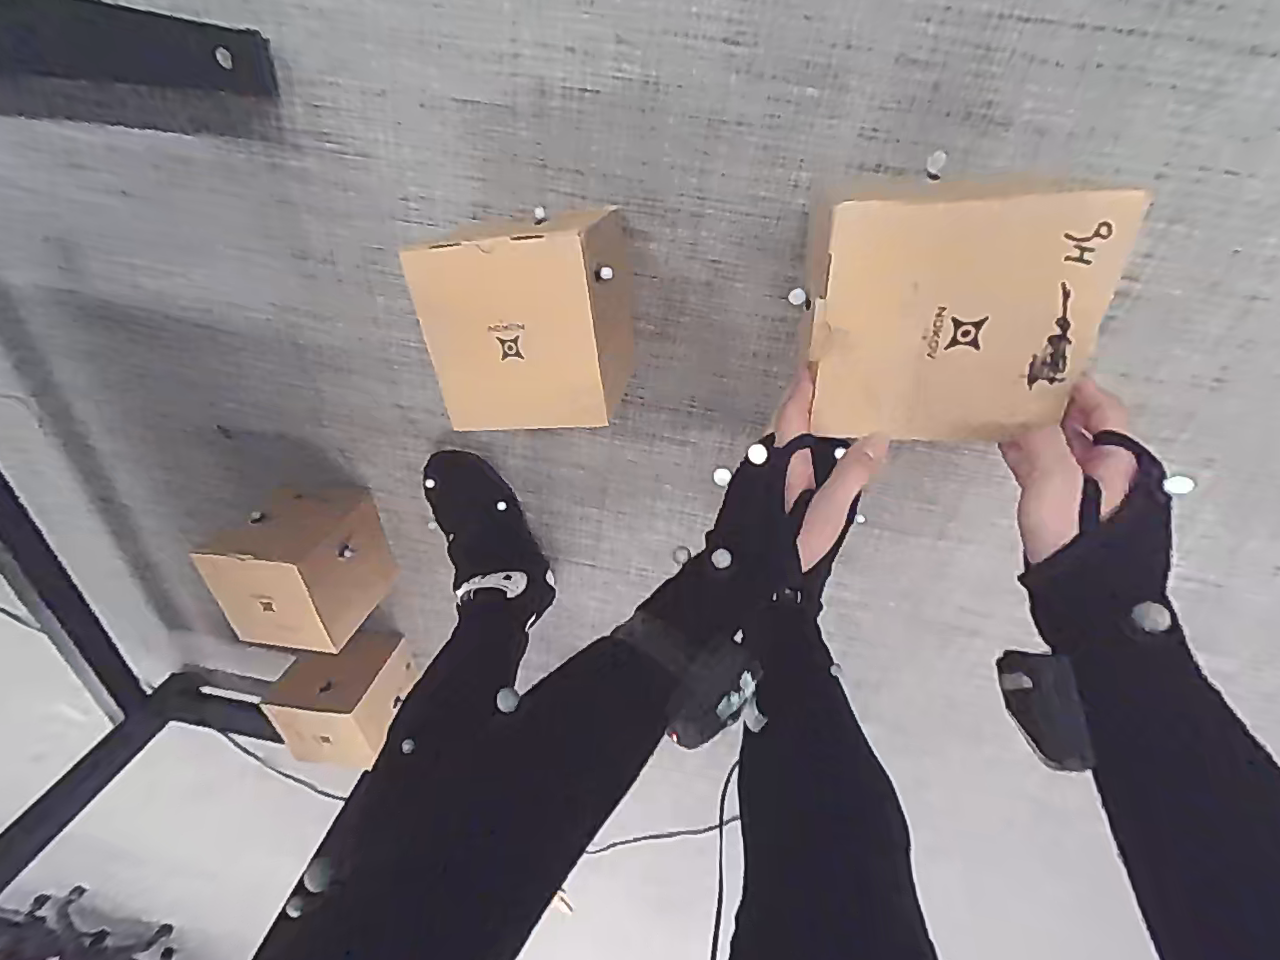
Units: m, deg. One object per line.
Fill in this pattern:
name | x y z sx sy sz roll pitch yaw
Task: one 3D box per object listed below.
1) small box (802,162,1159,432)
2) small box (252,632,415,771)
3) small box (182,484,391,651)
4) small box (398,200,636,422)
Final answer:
small box | 0.228 -0.152 0.429 0.179 0.176 0.168 3 123 11
small box | -0.530 0.389 0.972 0.179 0.176 0.168 3 122 9
small box | -0.504 0.122 0.803 0.168 0.176 0.179 5 123 9
small box | -0.103 -0.173 0.550 0.168 0.176 0.179 -1 121 11
